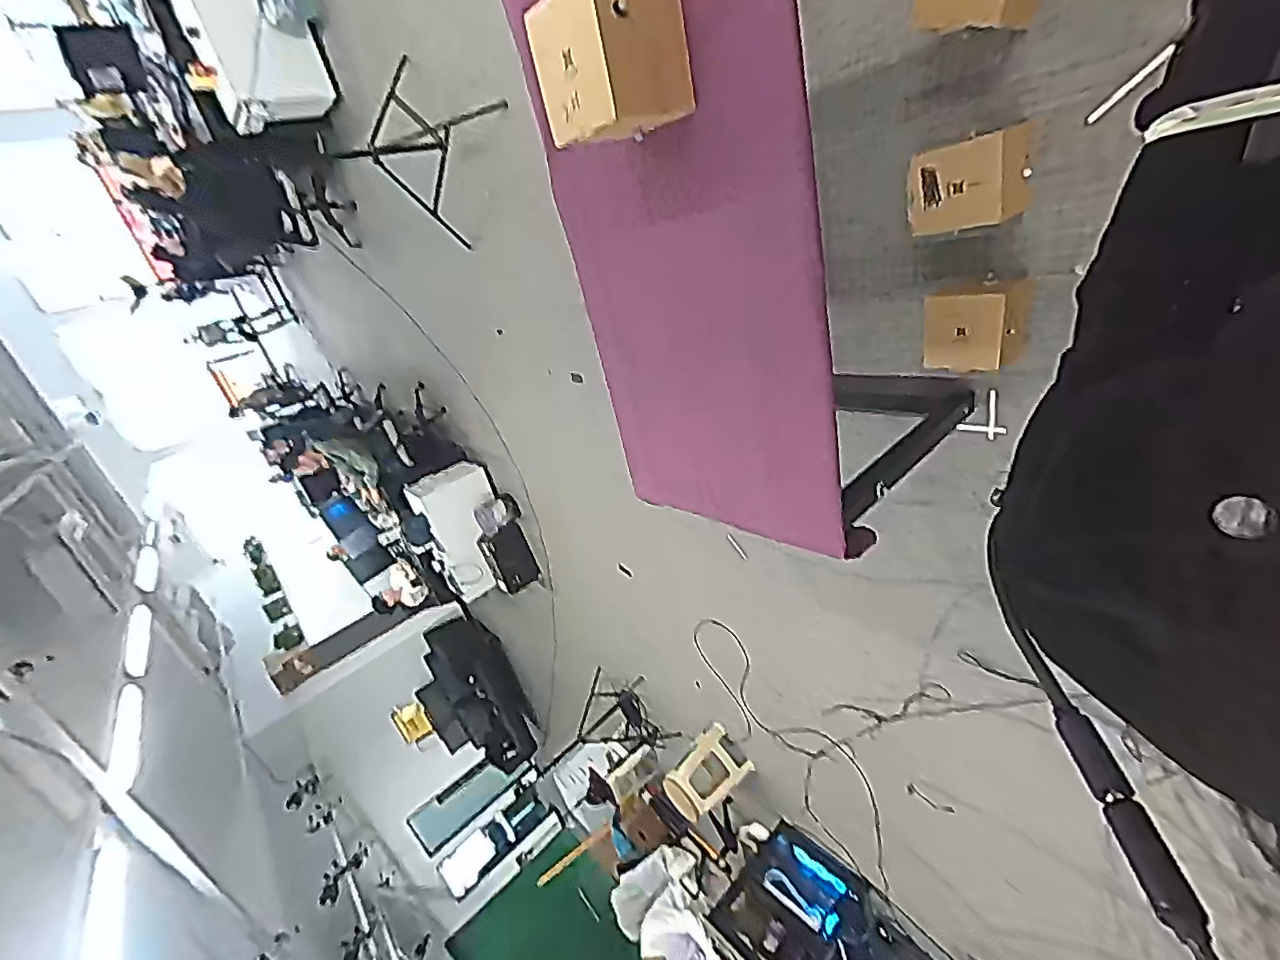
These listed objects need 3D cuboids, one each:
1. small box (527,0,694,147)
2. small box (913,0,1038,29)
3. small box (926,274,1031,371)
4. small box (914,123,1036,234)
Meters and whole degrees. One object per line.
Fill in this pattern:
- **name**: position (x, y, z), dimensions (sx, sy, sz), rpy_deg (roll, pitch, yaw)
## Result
- **small box**: position (-0.039, -0.635, 0.826), dimensions (0.168, 0.176, 0.179), rpy_deg (19, 131, 48)
- **small box**: position (0.644, -0.954, 1.001), dimensions (0.168, 0.176, 0.179), rpy_deg (32, 141, 36)
- **small box**: position (0.799, -0.373, 1.277), dimensions (0.168, 0.176, 0.179), rpy_deg (16, 128, 46)
- **small box**: position (0.716, -0.643, 1.161), dimensions (0.179, 0.176, 0.168), rpy_deg (14, 128, 48)
